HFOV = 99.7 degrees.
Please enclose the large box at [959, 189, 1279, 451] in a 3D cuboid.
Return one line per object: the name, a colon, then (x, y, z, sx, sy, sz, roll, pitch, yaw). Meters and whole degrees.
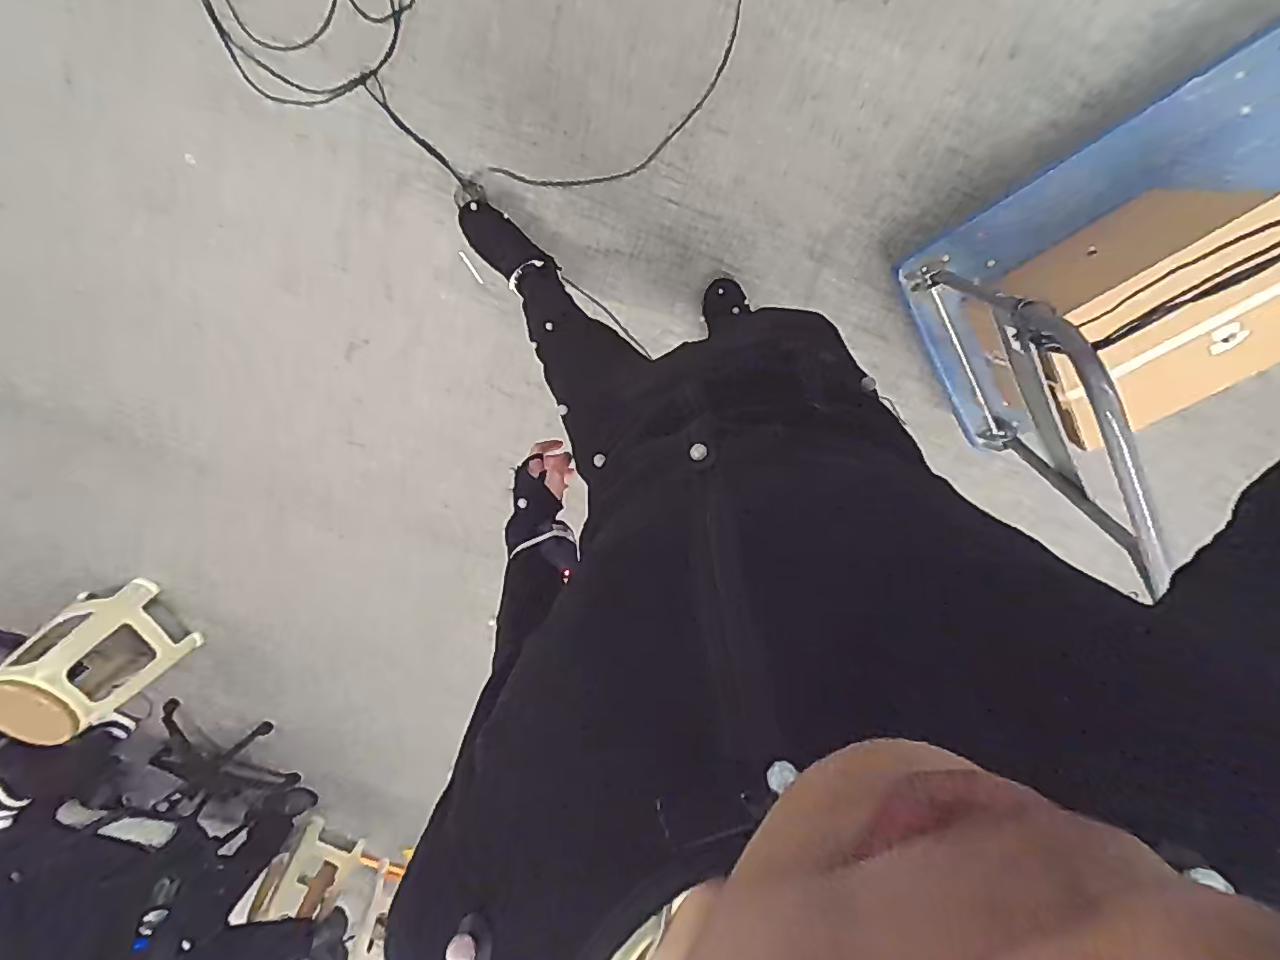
large box: (0.983, -0.333, 1.127, 0.408, 0.320, 0.320, -31, 113, 17)
